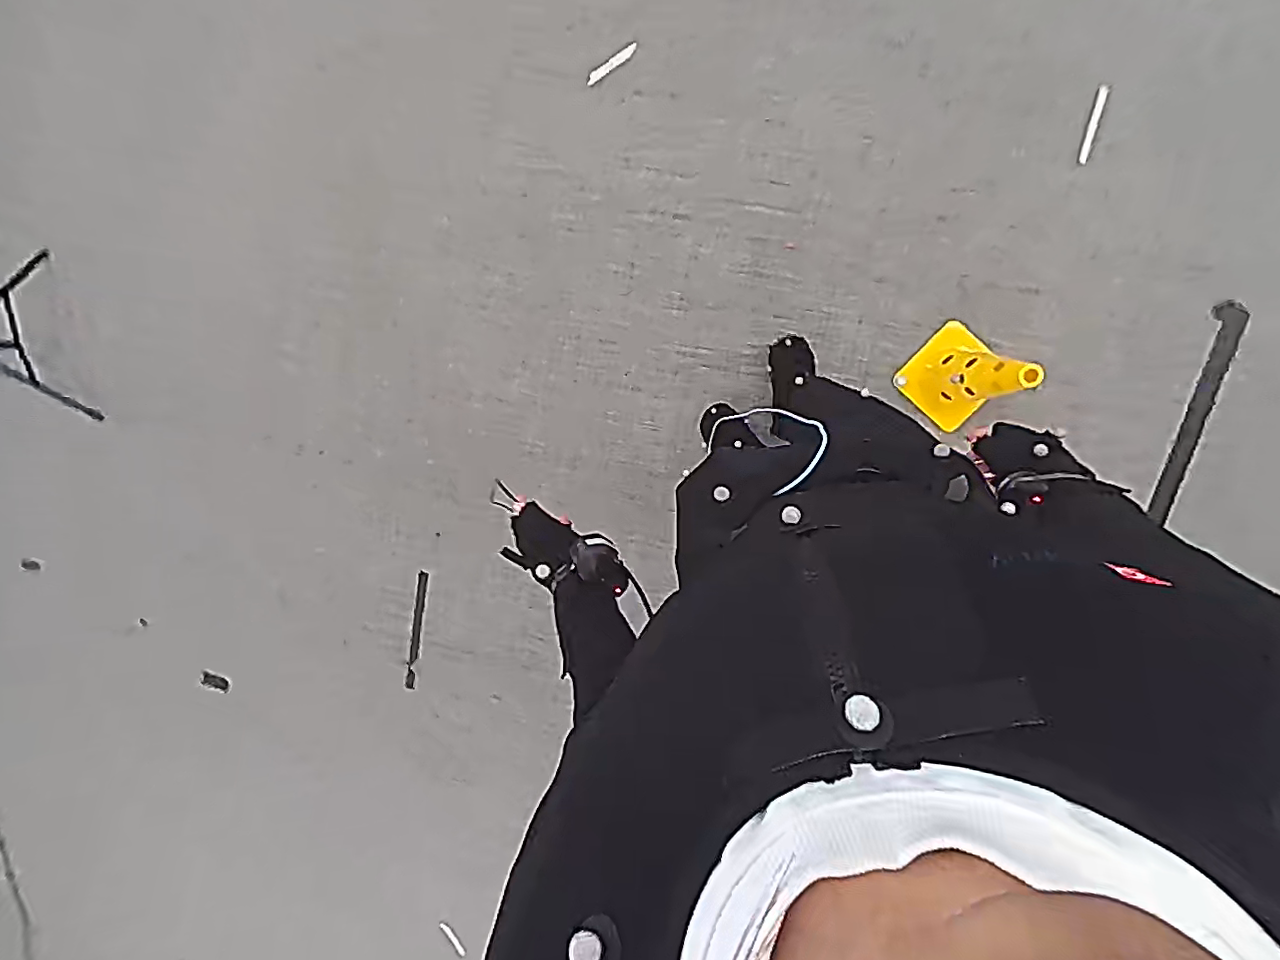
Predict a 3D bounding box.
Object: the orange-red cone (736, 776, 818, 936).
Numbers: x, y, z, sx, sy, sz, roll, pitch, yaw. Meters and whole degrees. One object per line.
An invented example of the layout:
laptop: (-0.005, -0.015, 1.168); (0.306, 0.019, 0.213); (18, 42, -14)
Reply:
orange-red cone: (0.377, 1.000, 1.413); (0.198, 0.360, 0.199); (18, 101, 4)
